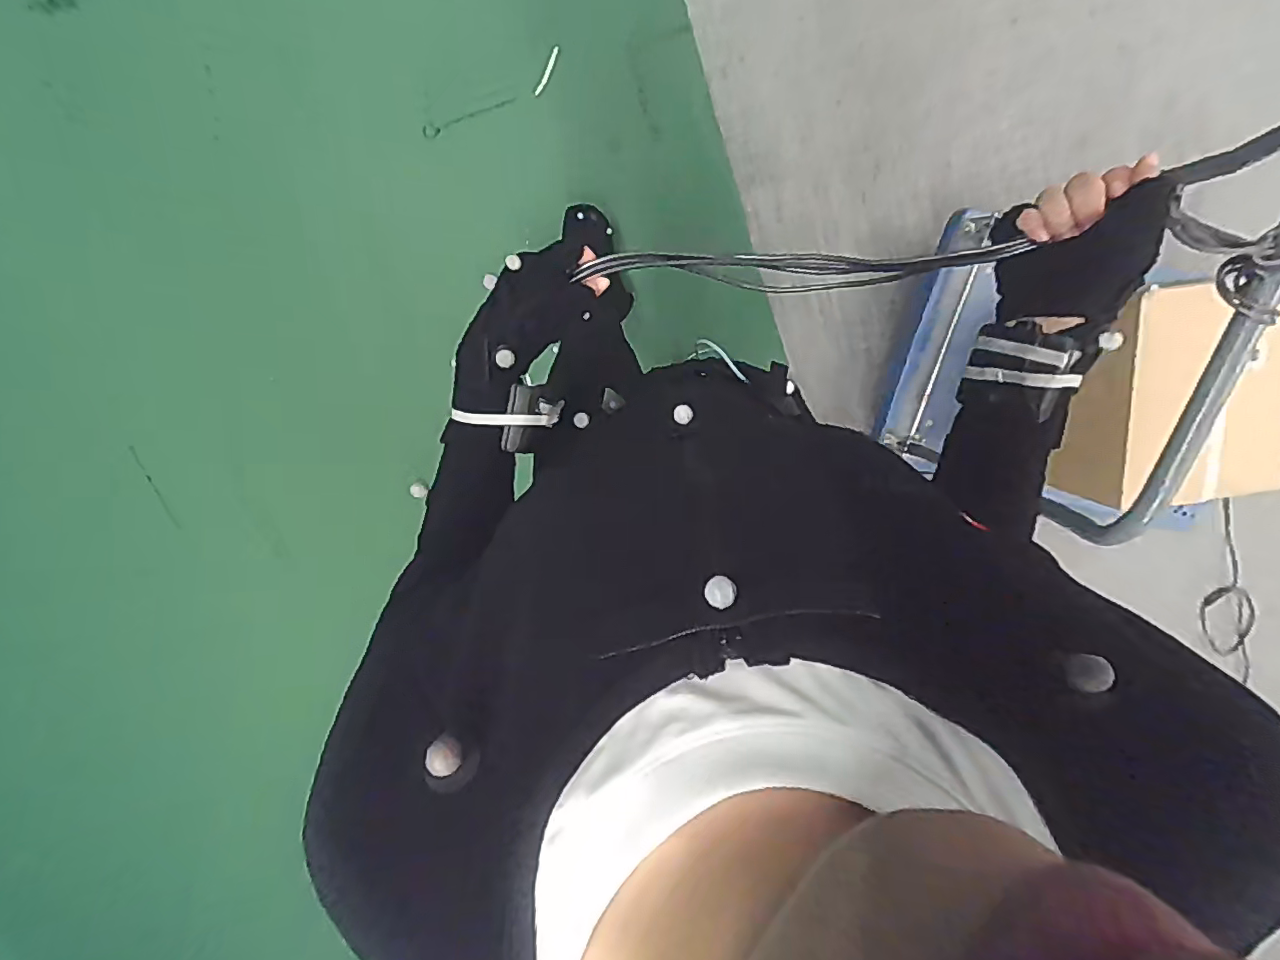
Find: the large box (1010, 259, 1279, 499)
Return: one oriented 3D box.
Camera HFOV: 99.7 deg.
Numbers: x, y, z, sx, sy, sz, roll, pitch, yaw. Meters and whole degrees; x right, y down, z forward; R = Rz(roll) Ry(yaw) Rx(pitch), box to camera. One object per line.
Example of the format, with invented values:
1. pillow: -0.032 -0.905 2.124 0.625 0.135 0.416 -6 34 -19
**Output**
1. large box: 1.028 -0.211 1.129 0.320 0.320 0.408 -8 105 0
